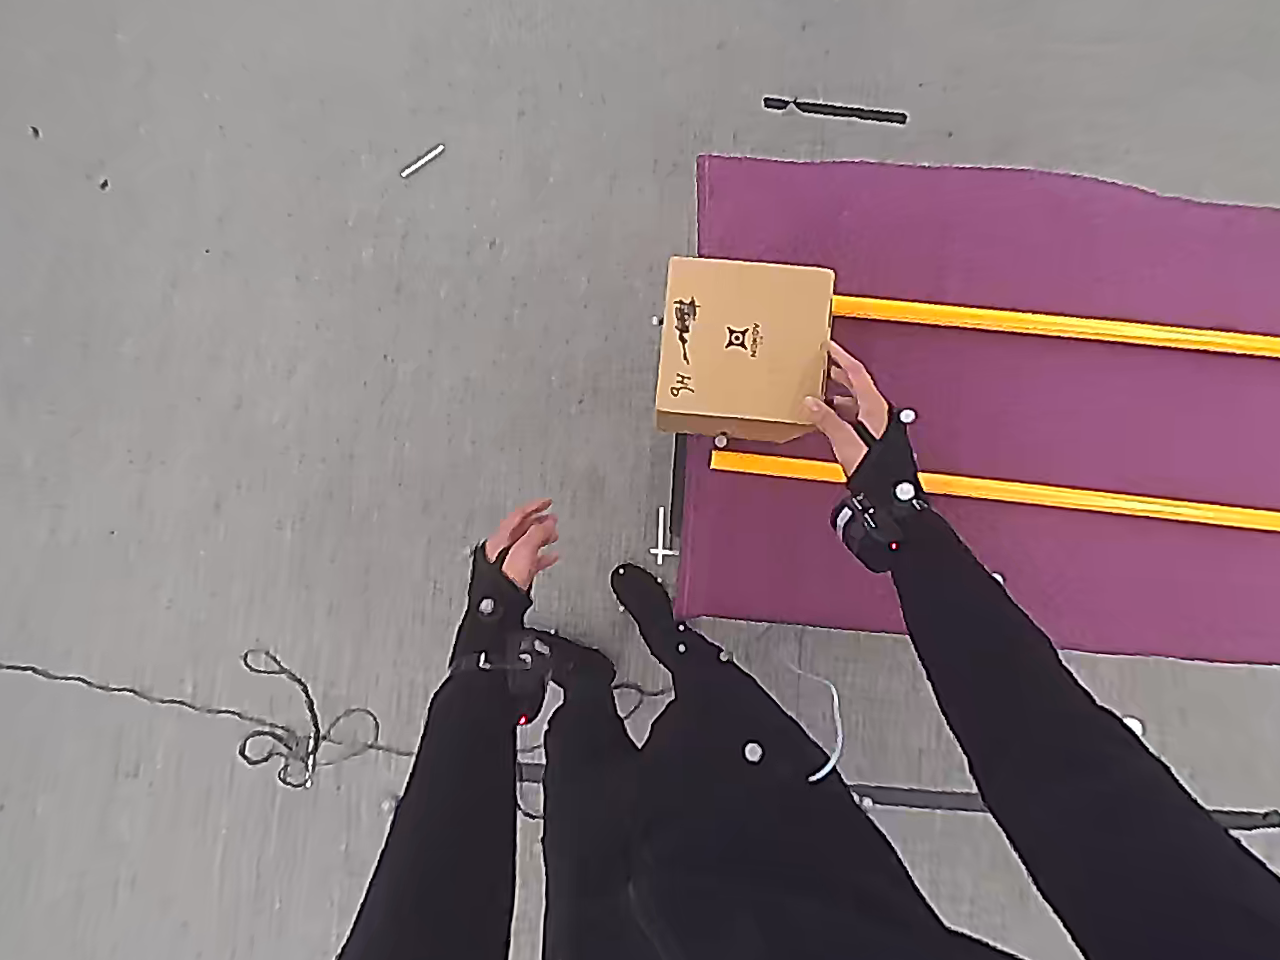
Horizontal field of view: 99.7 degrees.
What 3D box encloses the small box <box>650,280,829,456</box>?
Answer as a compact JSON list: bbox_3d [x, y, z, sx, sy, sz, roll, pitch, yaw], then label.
[{"bbox_3d":[0.107,-0.121,0.651,0.179,0.176,0.168,6,88,1],"label":"small box"}]
